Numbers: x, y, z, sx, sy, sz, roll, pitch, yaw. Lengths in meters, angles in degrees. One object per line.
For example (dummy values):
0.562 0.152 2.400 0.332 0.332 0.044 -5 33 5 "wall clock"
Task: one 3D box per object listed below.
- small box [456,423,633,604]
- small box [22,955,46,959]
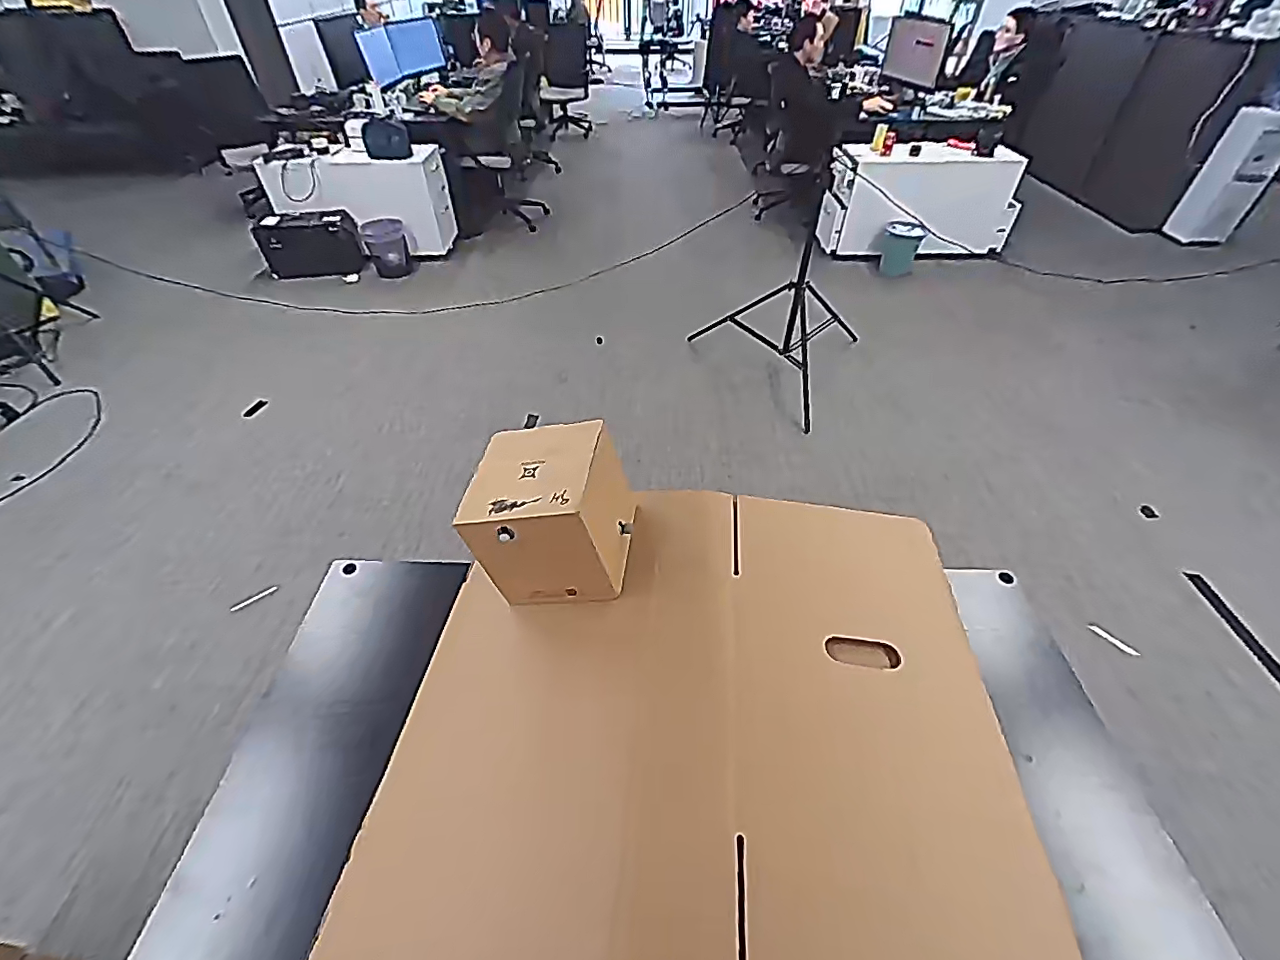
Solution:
-0.113 0.047 0.734 0.168 0.176 0.179 -7 41 15 "small box"
-1.220 1.015 1.007 0.168 0.176 0.179 -2 45 -2 "small box"
